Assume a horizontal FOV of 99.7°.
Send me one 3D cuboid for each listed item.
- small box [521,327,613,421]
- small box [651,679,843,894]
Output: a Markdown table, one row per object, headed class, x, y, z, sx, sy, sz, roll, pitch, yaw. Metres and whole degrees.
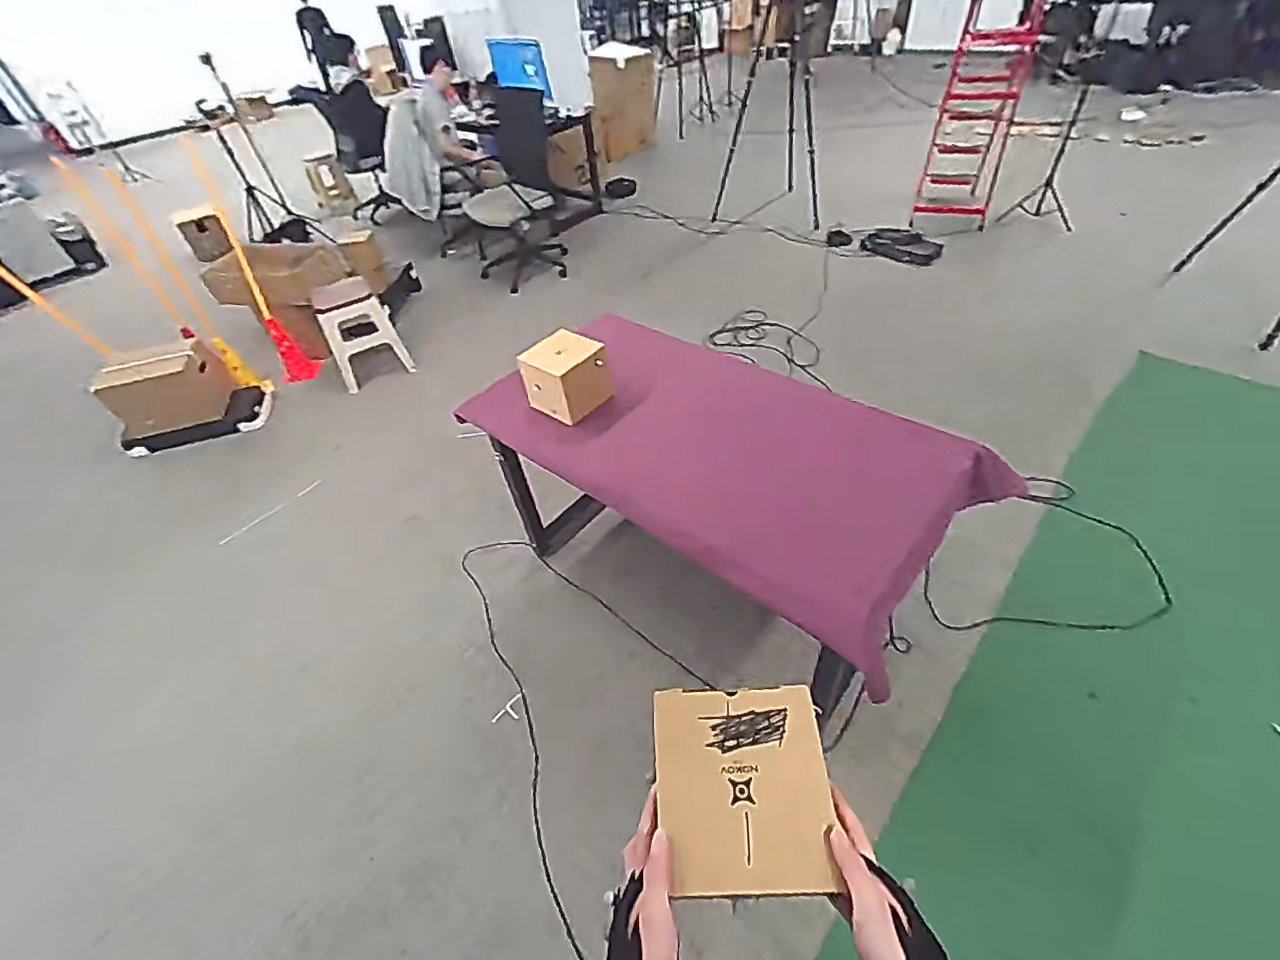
| class | x | y | z | sx | sy | sz | roll | pitch | yaw |
| --- | --- | --- | --- | --- | --- | --- | --- | --- | --- |
| small box | -0.192 | -0.290 | 1.485 | 0.168 | 0.176 | 0.179 | 28 | 55 | 30 |
| small box | 0.097 | 0.330 | 0.580 | 0.168 | 0.176 | 0.179 | -4 | 52 | 3 |
